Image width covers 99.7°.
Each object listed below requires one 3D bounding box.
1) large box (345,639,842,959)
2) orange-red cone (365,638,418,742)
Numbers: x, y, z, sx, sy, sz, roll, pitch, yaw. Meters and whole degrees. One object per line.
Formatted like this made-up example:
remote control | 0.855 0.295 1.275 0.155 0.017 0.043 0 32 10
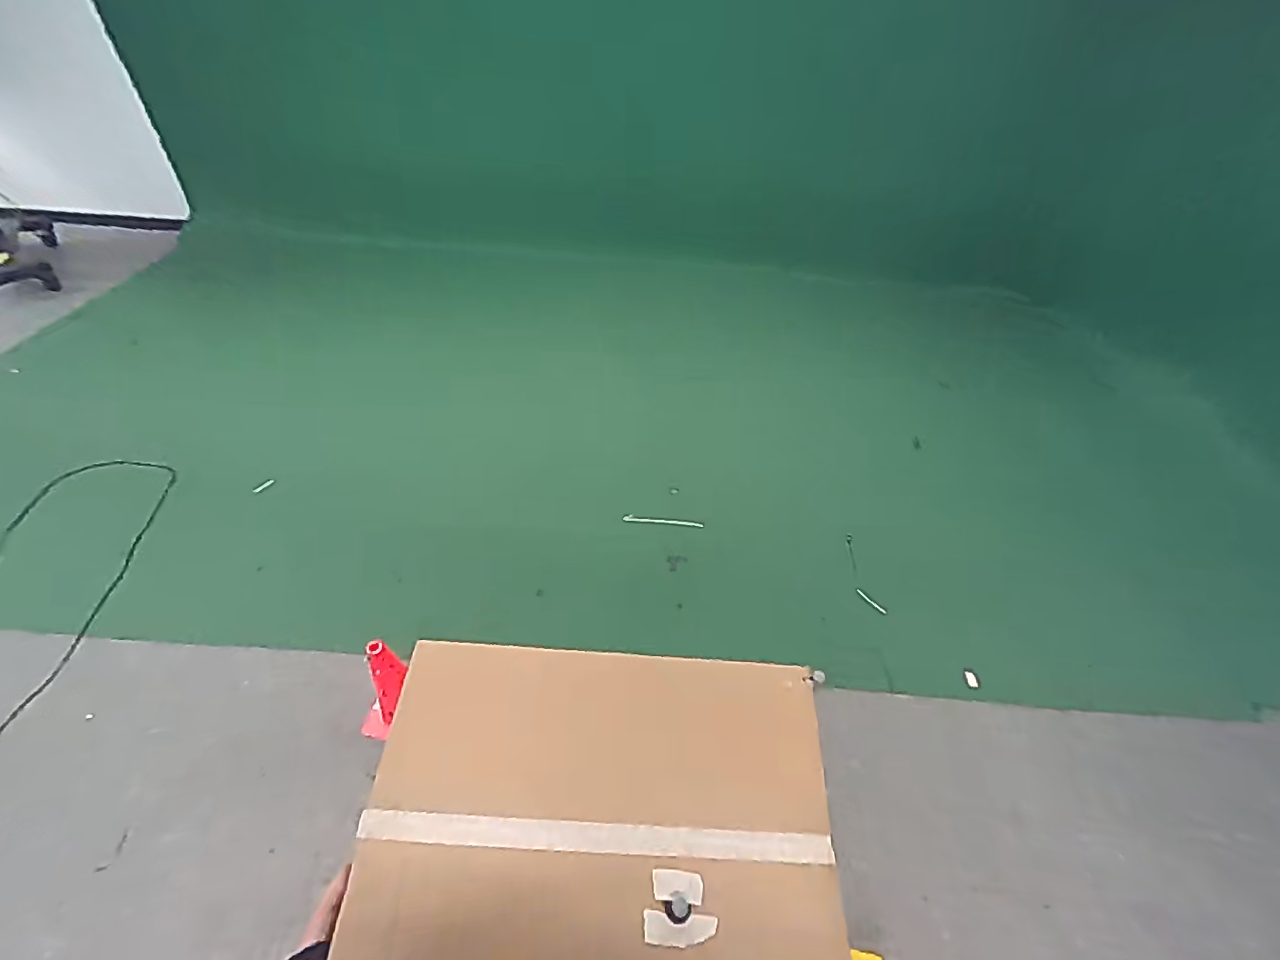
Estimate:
large box | -0.041 0.388 0.606 0.408 0.320 0.320 4 56 -2
orange-red cone | -0.672 0.542 1.474 0.199 0.360 0.198 8 44 6
